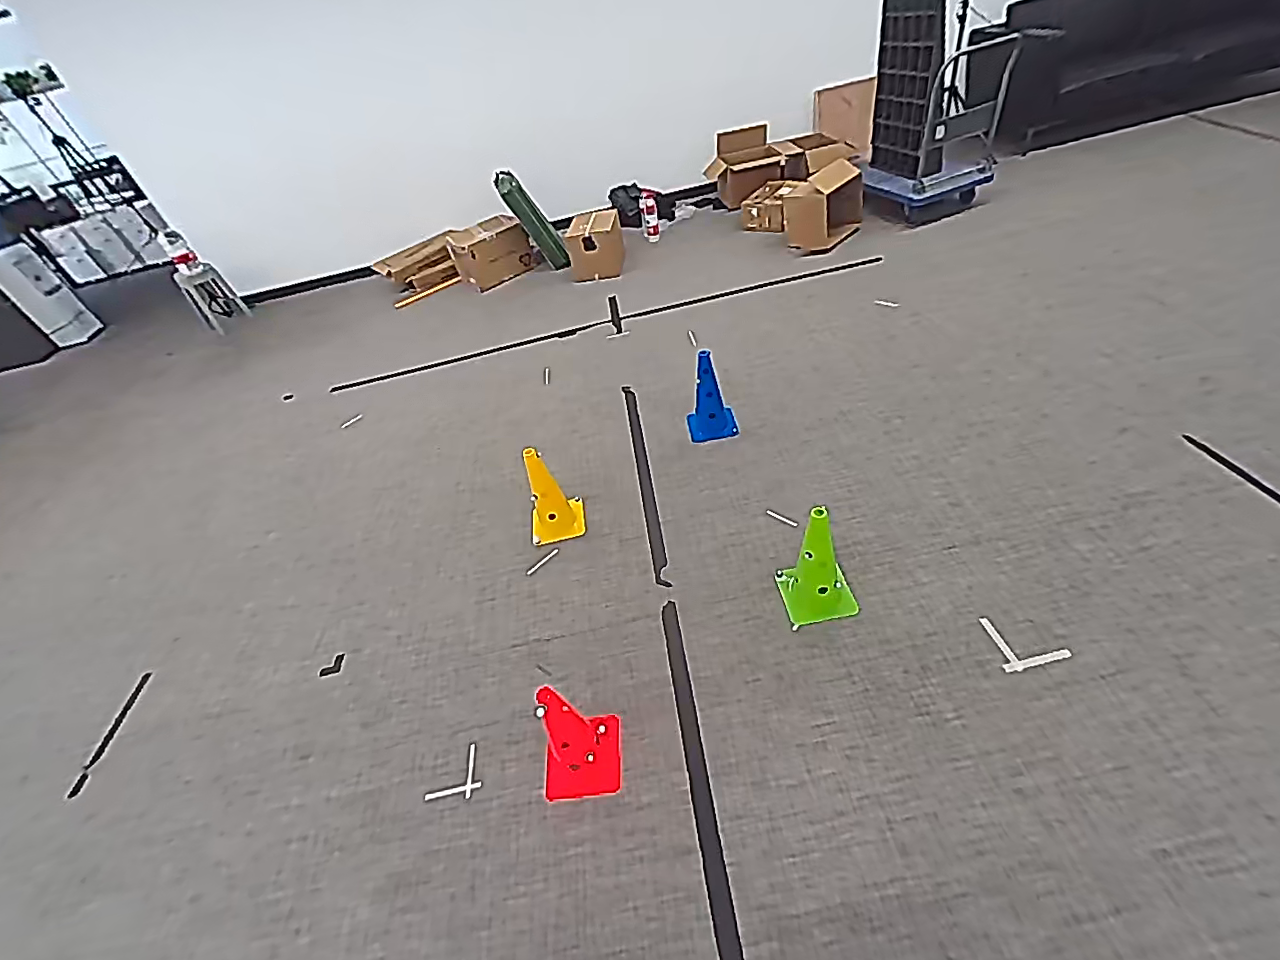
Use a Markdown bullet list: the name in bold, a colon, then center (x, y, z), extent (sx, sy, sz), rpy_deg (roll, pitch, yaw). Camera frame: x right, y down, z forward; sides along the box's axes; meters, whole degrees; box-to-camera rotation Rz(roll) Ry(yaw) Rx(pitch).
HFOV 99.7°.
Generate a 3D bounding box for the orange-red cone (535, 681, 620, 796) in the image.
- **orange-red cone**: center (-0.184, 0.591, 1.306), extent (0.199, 0.360, 0.198), rpy_deg (-10, 41, 6)

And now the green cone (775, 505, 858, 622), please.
- **green cone**: center (0.502, 0.211, 1.526), extent (0.202, 0.368, 0.200), rpy_deg (-11, 42, 1)

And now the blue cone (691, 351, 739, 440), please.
- **blue cone**: center (0.293, -0.357, 2.218), extent (0.192, 0.380, 0.193), rpy_deg (-9, 42, 4)
